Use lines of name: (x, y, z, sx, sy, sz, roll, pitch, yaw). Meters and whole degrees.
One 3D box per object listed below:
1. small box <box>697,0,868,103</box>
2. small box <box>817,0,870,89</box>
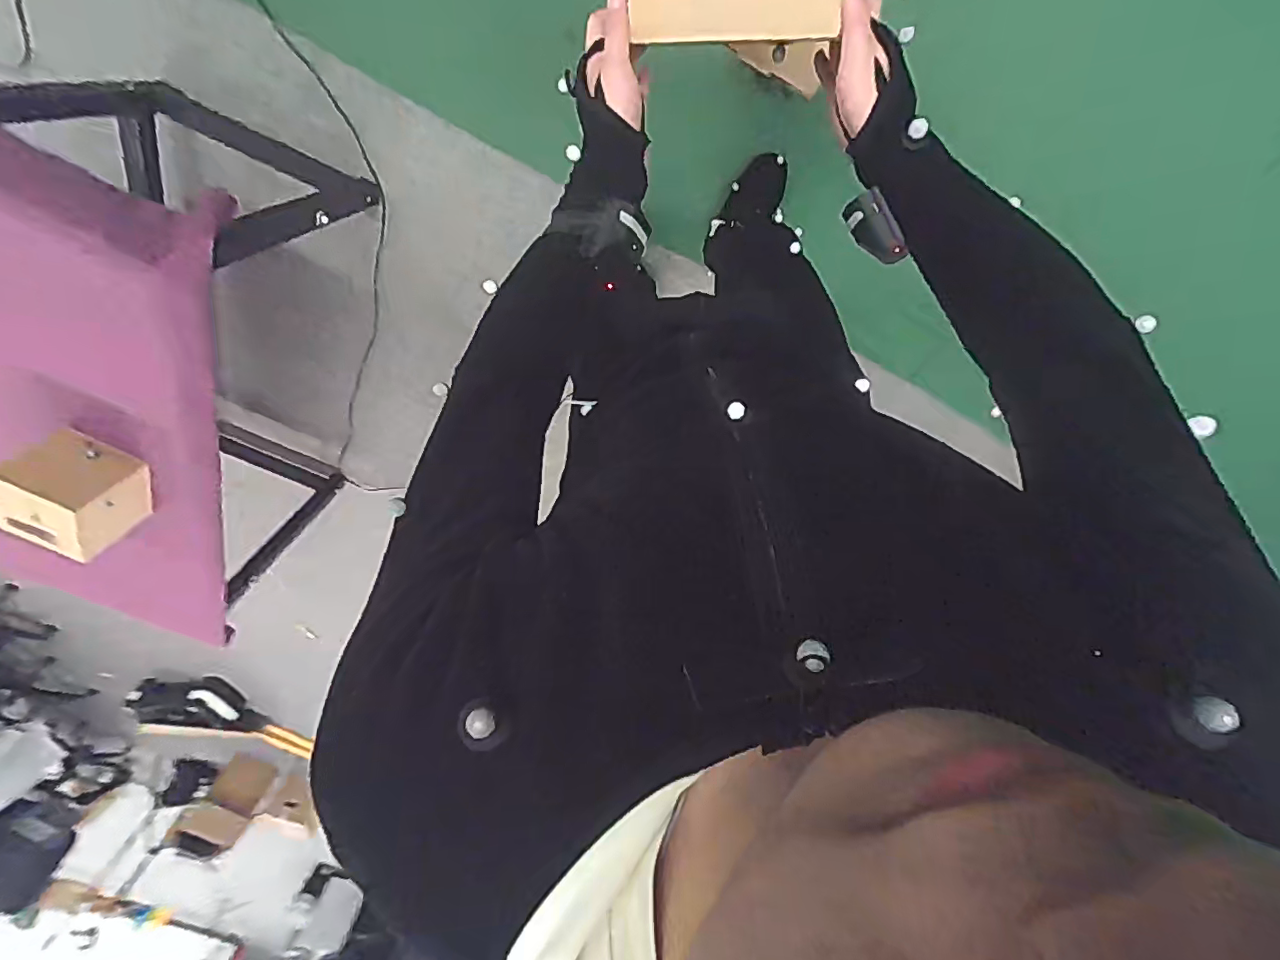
small box: (0.190, -0.610, 0.673, 0.168, 0.176, 0.179, 26, 128, -8)
small box: (0.234, -0.708, 0.798, 0.179, 0.176, 0.168, 23, 128, -7)
